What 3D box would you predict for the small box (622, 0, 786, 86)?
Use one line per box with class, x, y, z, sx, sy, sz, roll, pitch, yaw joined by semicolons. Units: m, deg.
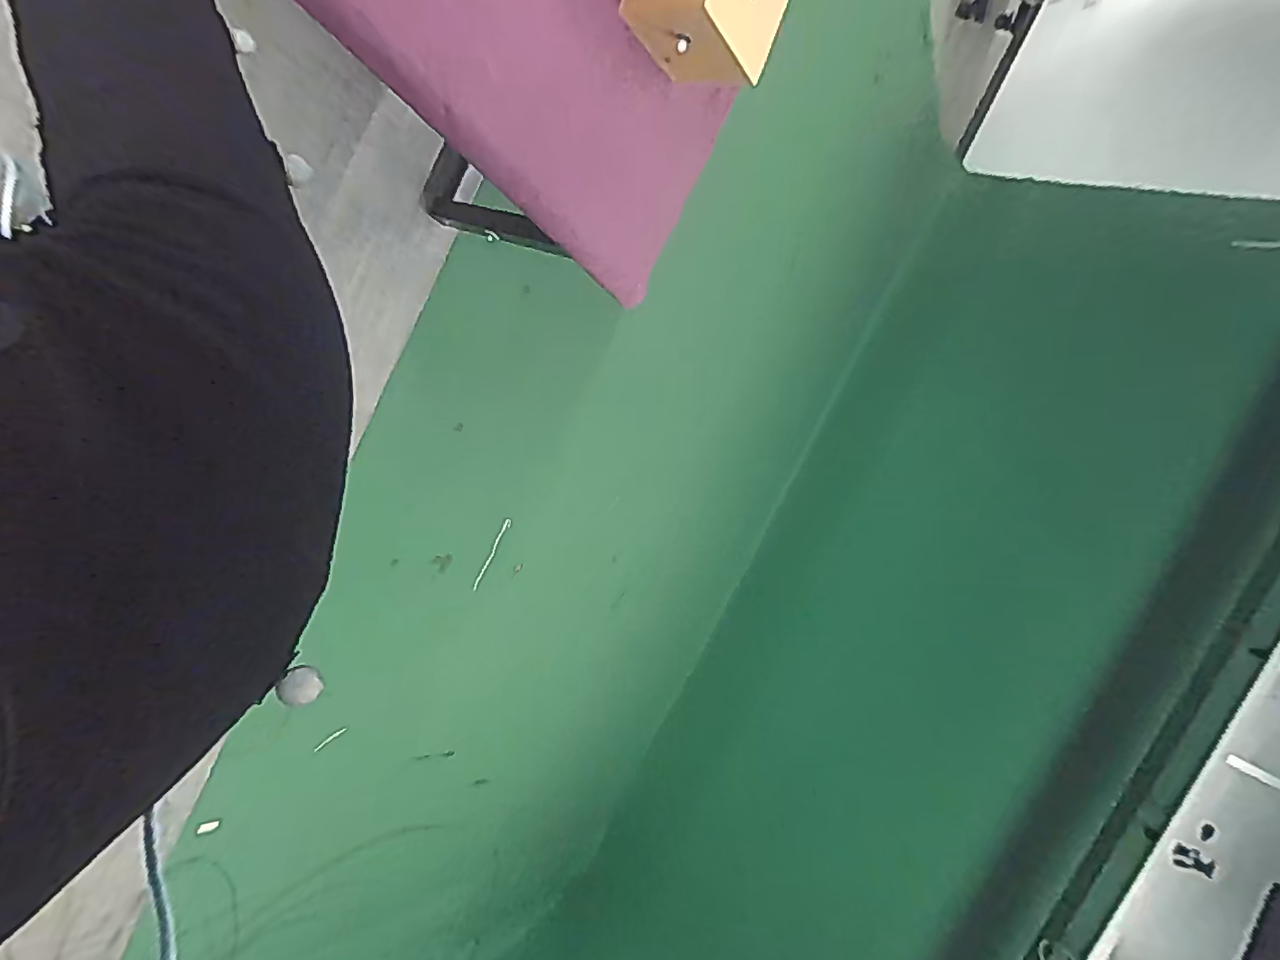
small box;0.096;-0.725;0.803;0.168;0.176;0.179;6;108;-54
